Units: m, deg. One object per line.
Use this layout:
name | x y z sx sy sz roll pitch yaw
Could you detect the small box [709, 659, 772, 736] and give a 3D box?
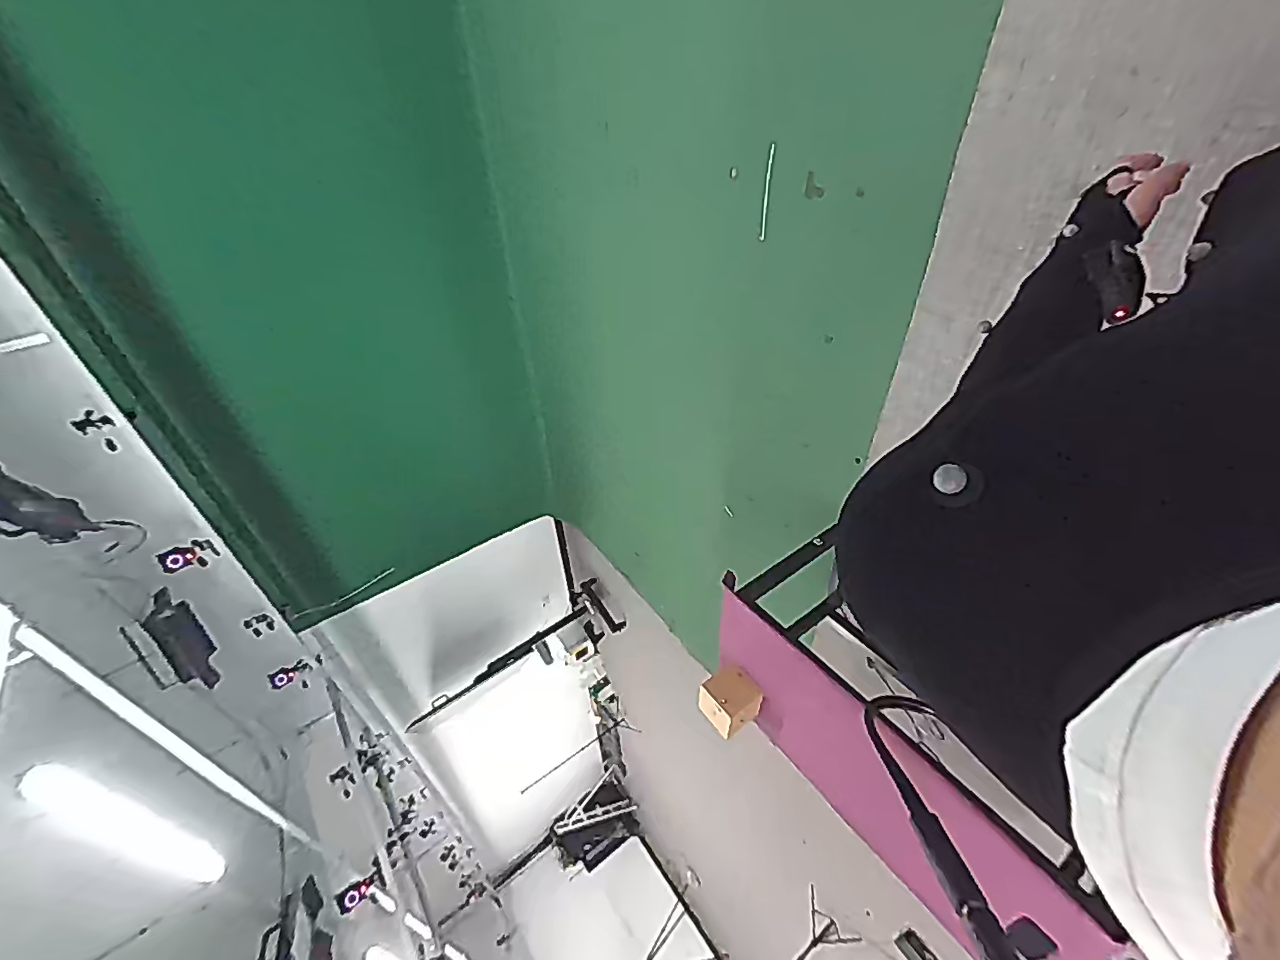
small box | 0.382 0.823 2.052 0.168 0.176 0.179 41 147 38
